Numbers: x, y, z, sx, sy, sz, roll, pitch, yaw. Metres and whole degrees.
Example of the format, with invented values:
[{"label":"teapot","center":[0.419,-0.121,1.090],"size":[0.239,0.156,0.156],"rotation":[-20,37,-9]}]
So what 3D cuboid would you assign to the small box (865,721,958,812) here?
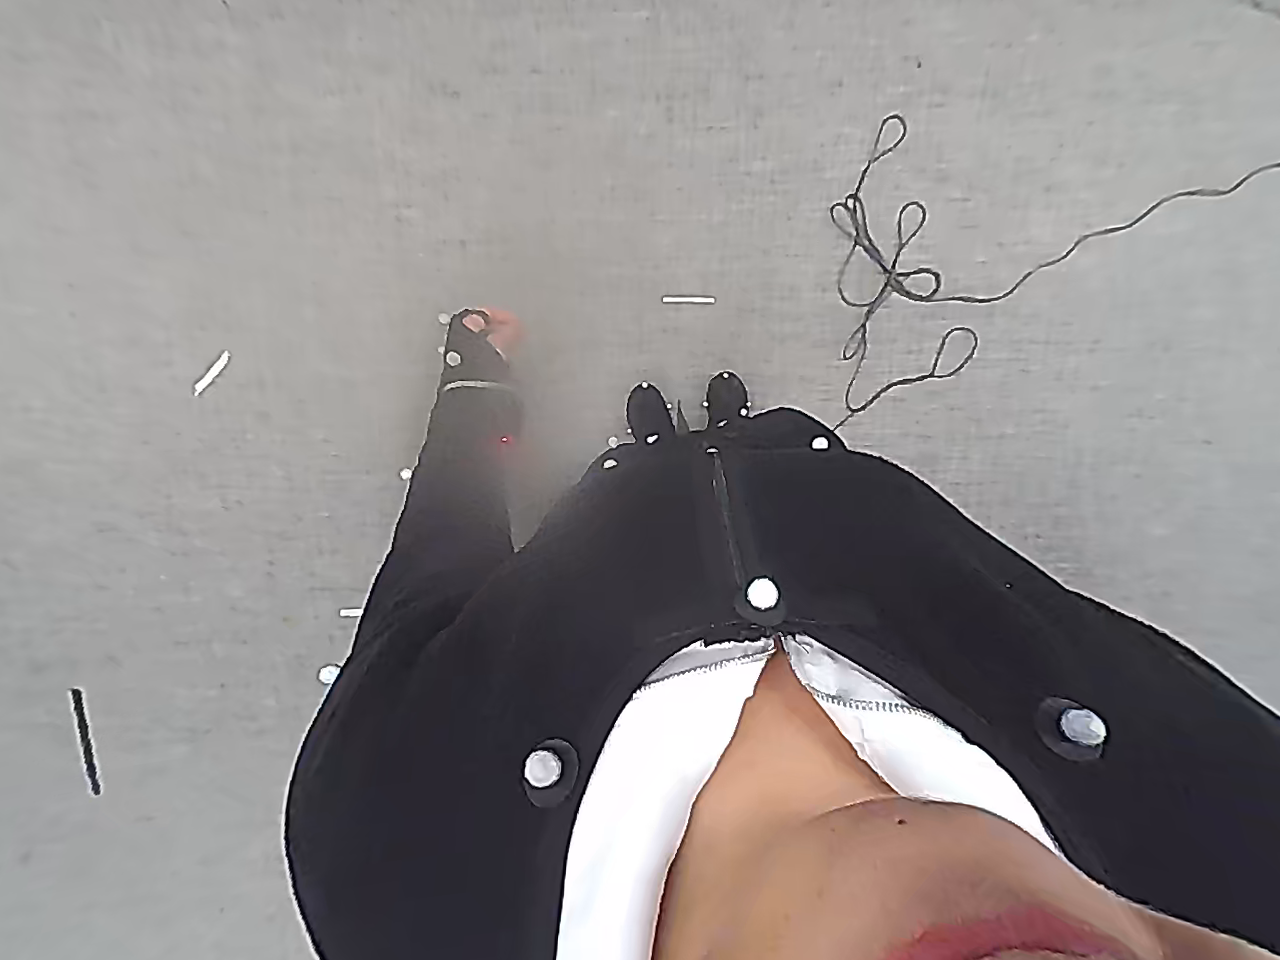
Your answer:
[{"label":"small box","center":[0.765,0.806,1.536],"size":[0.179,0.176,0.168],"rotation":[0,99,2]}]

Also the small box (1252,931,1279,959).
[{"label":"small box","center":[1.052,0.810,0.790],"size":[0.179,0.176,0.168],"rotation":[4,100,1]}]
